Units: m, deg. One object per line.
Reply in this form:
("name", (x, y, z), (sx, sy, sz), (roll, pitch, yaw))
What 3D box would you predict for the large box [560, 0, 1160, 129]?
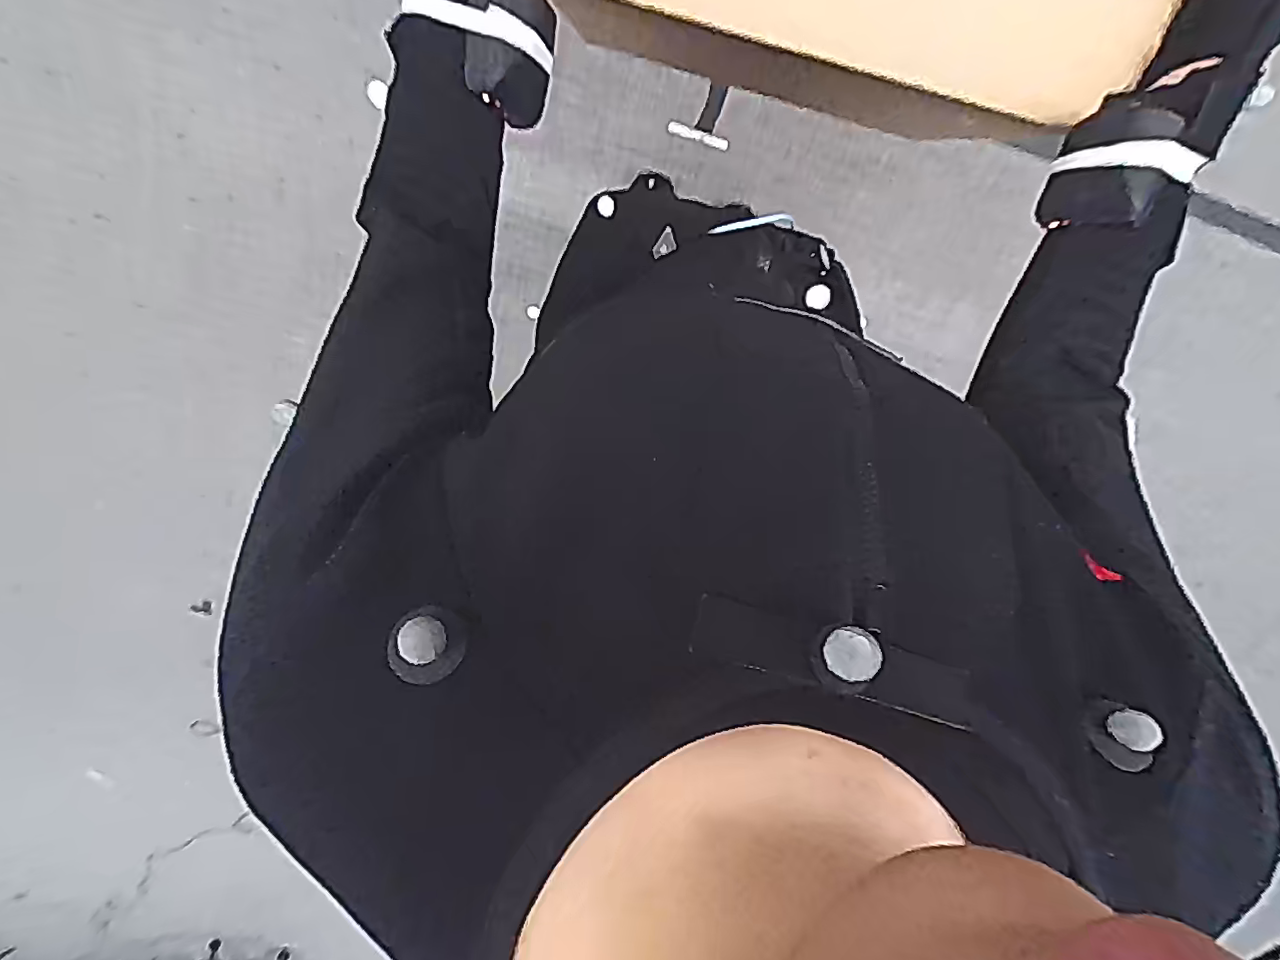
("large box", (0.157, -0.491, 0.404), (0.408, 0.320, 0.320), (12, 123, -6))
